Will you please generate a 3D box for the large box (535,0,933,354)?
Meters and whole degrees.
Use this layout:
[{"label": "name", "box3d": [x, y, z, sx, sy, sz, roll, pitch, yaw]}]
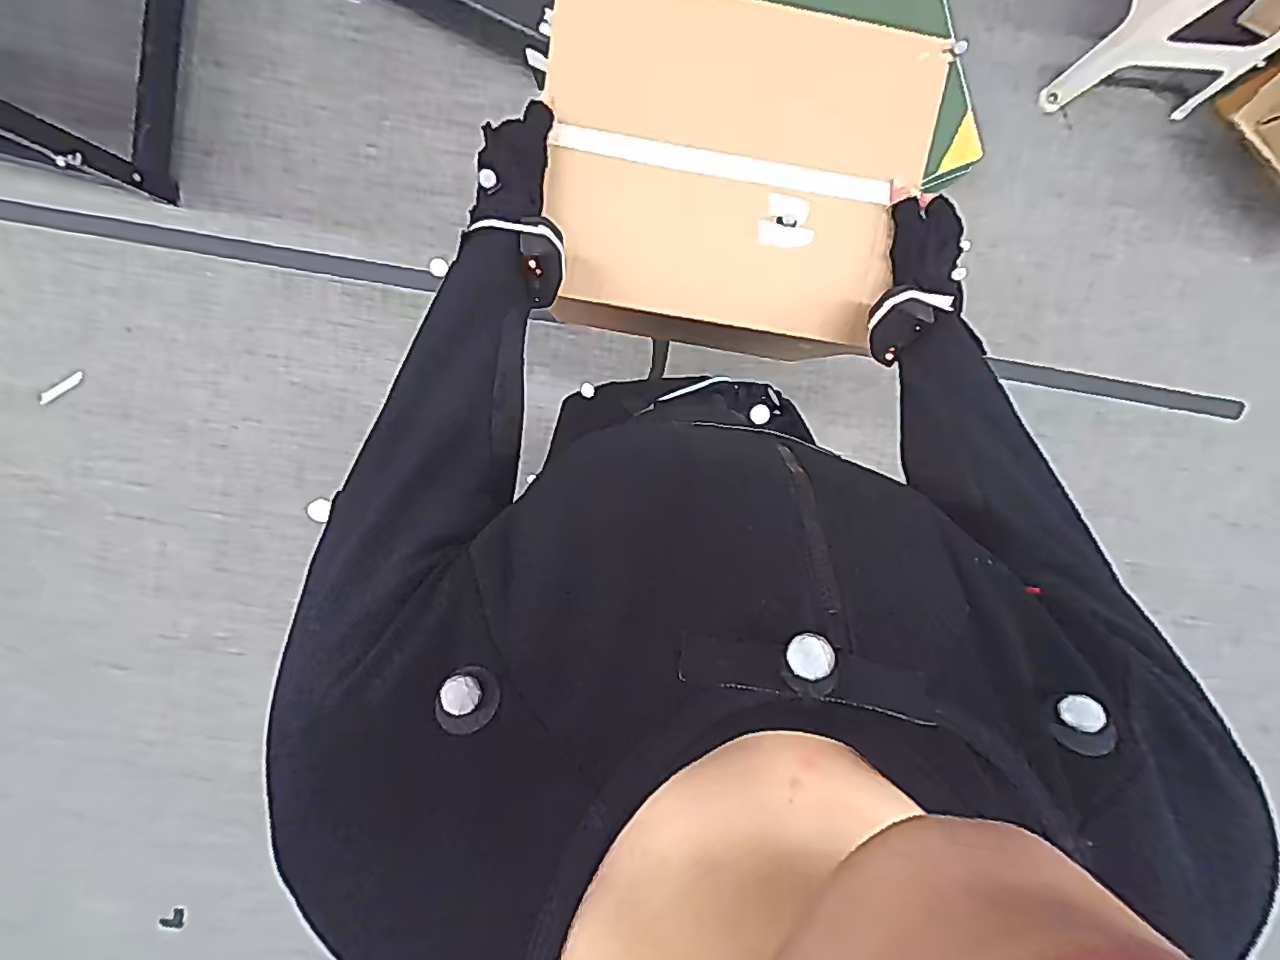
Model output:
[{"label": "large box", "box3d": [0.089, -0.360, 0.733, 0.408, 0.320, 0.320, 8, 101, -5]}]
